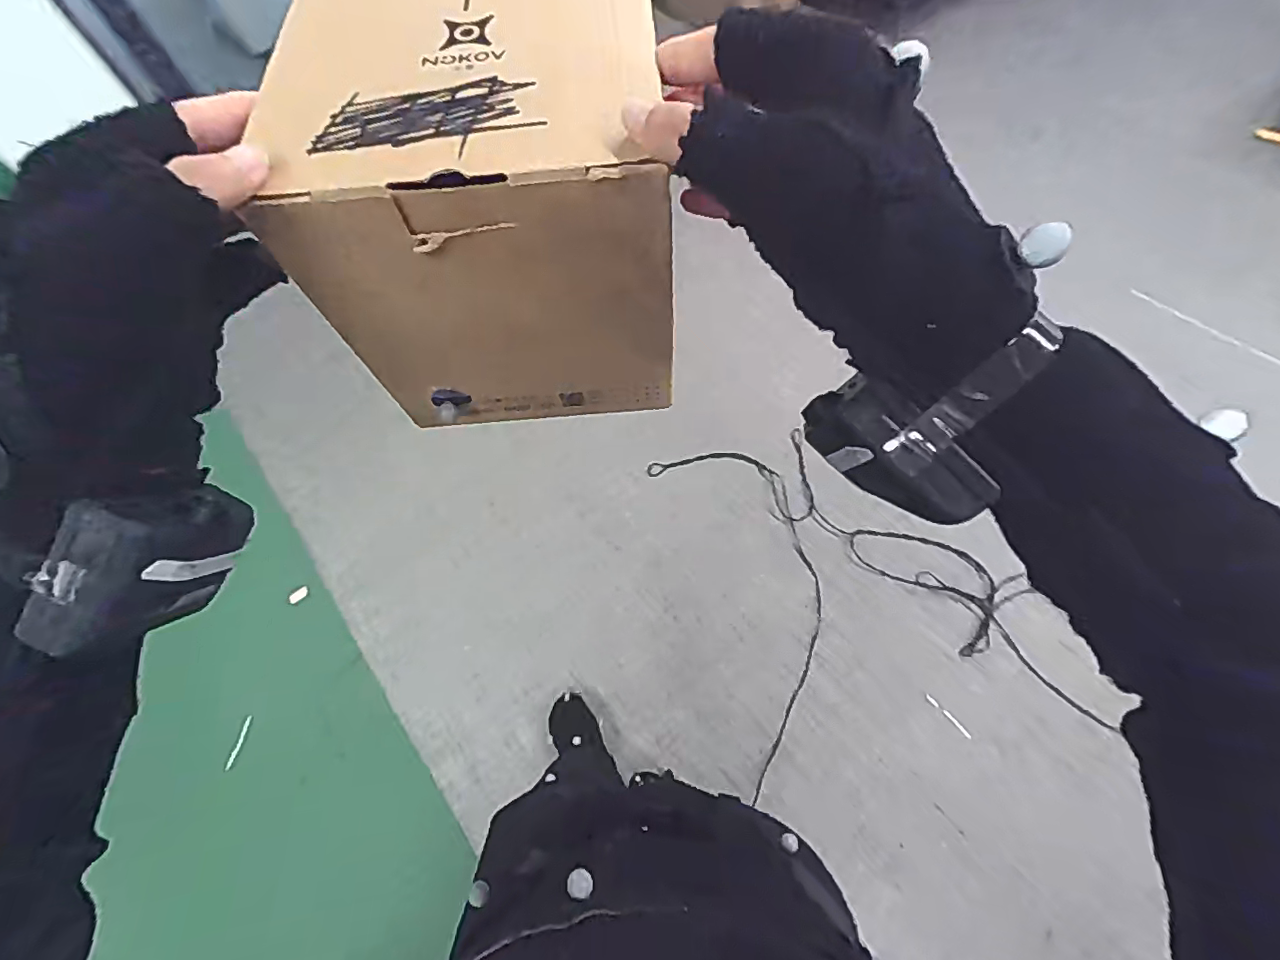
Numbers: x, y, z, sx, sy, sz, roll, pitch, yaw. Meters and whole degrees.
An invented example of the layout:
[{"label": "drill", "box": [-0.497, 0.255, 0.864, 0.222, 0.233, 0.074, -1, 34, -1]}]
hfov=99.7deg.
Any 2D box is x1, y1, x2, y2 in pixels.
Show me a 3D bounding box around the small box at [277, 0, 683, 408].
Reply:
[{"label": "small box", "box": [-0.062, -0.154, 0.317, 0.168, 0.176, 0.179, -4, 65, 2]}]
